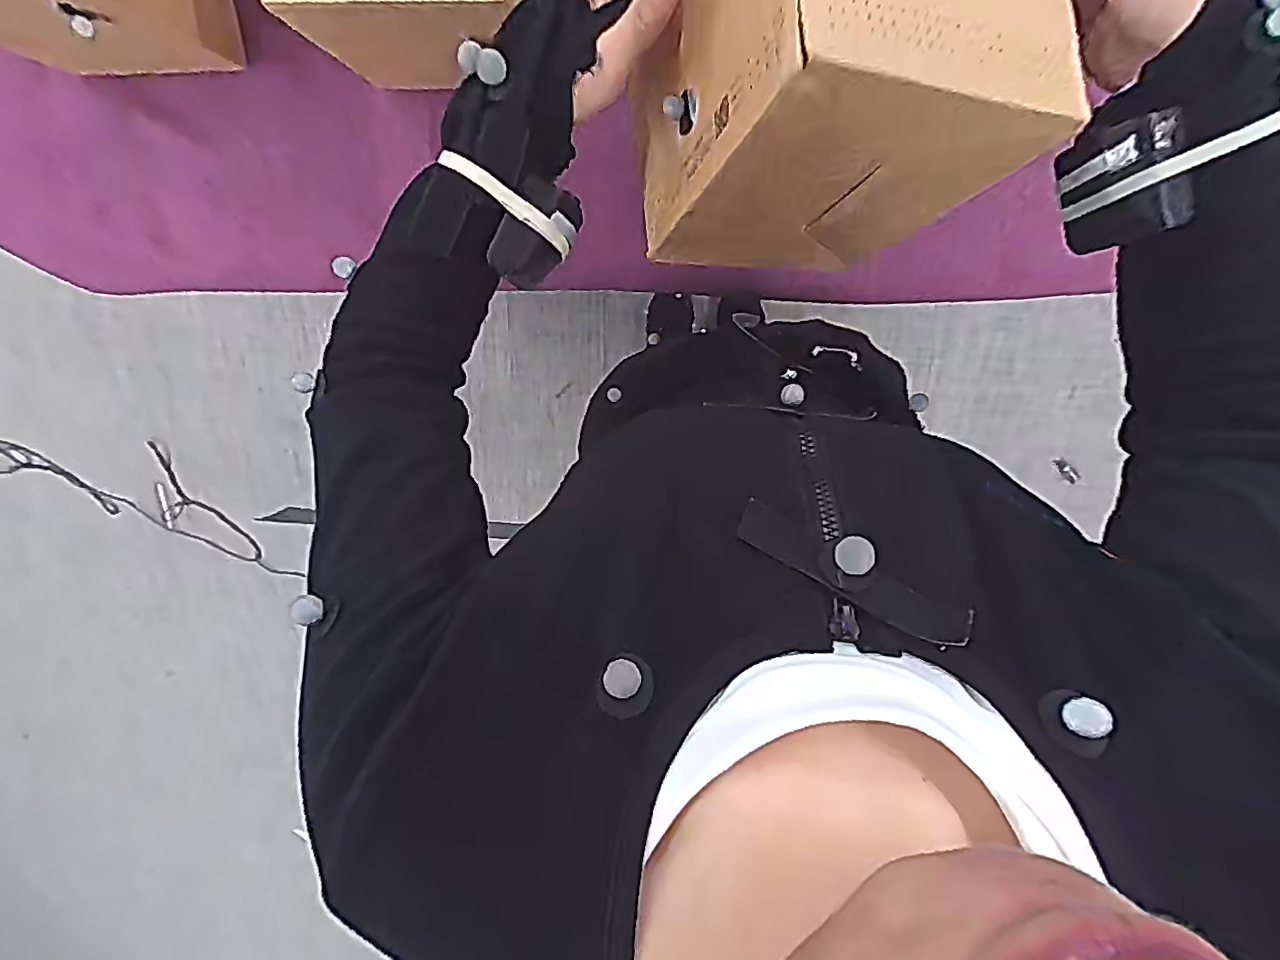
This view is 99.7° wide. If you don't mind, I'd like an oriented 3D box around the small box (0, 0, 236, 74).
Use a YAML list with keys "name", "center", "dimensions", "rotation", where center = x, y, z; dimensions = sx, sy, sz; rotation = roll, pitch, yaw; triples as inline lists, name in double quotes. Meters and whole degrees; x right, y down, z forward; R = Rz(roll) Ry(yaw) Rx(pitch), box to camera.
- name: "small box"
  center: [-0.471, -0.455, 0.435]
  dimensions: [0.179, 0.176, 0.168]
  rotation: [0, 109, 2]
